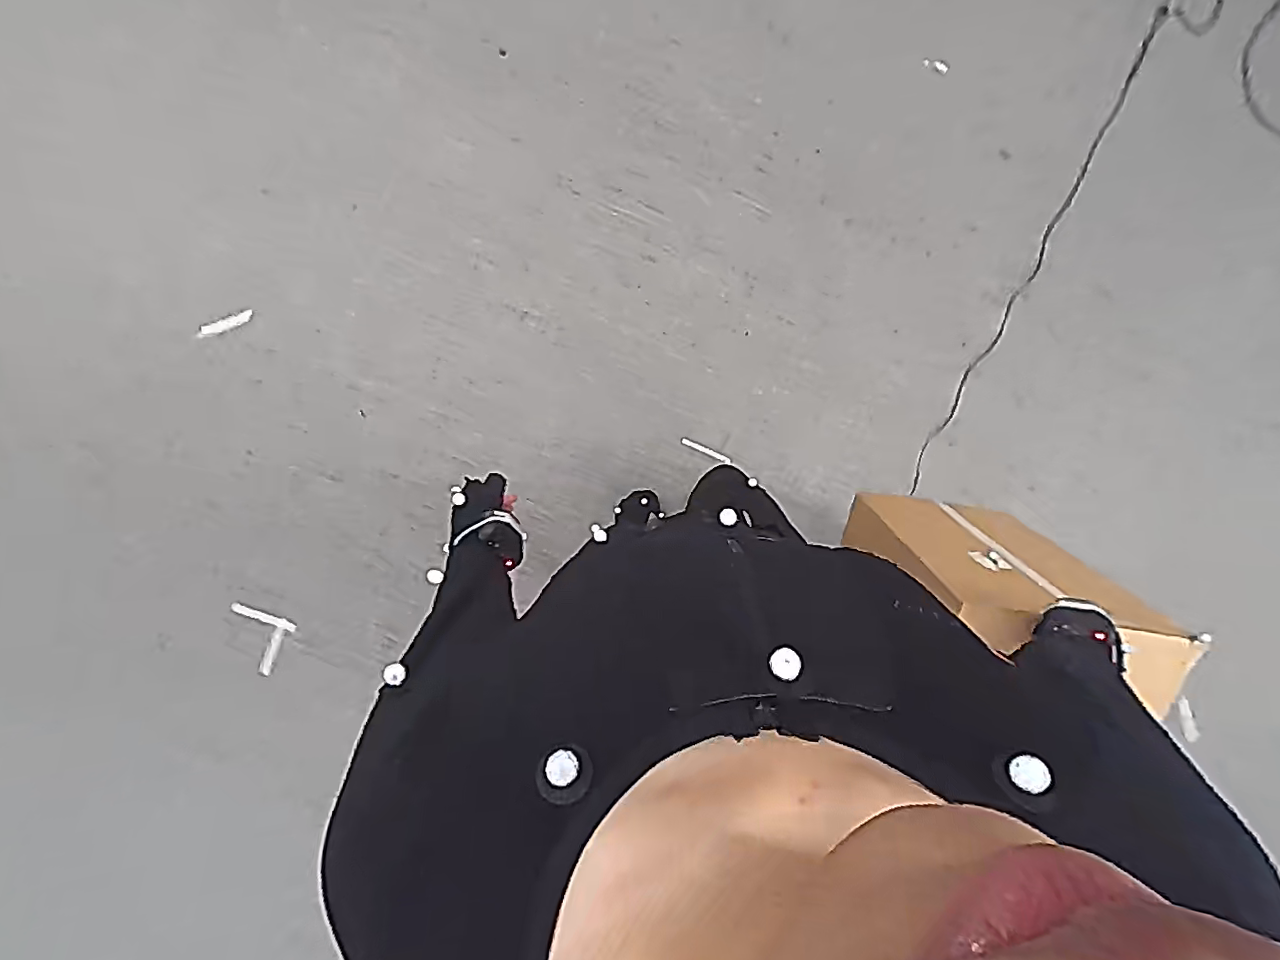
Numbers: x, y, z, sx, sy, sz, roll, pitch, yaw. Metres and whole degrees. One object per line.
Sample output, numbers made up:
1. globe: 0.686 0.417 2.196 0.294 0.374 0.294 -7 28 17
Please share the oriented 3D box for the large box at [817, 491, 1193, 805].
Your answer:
1. large box: 0.542 0.251 0.924 0.320 0.408 0.320 8 110 -1
